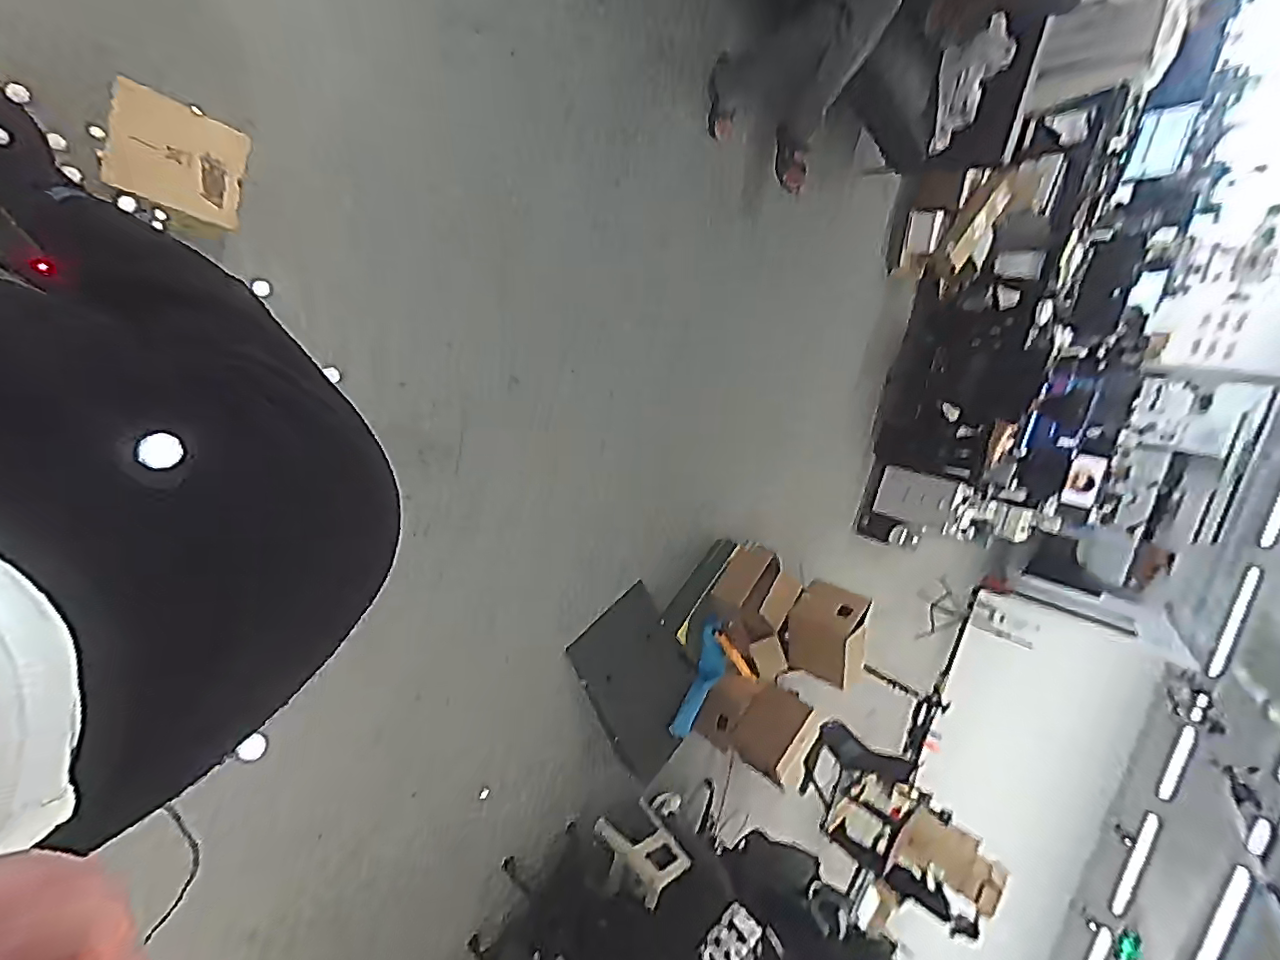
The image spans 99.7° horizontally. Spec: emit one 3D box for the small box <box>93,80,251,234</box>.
[{"bbox_3d":[-0.819,-0.548,0.946,0.179,0.176,0.168,9,98,-48],"label":"small box"}]

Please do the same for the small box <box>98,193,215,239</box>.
[{"bbox_3d":[-0.932,-0.592,1.058,0.168,0.176,0.179,10,98,-50],"label":"small box"}]
